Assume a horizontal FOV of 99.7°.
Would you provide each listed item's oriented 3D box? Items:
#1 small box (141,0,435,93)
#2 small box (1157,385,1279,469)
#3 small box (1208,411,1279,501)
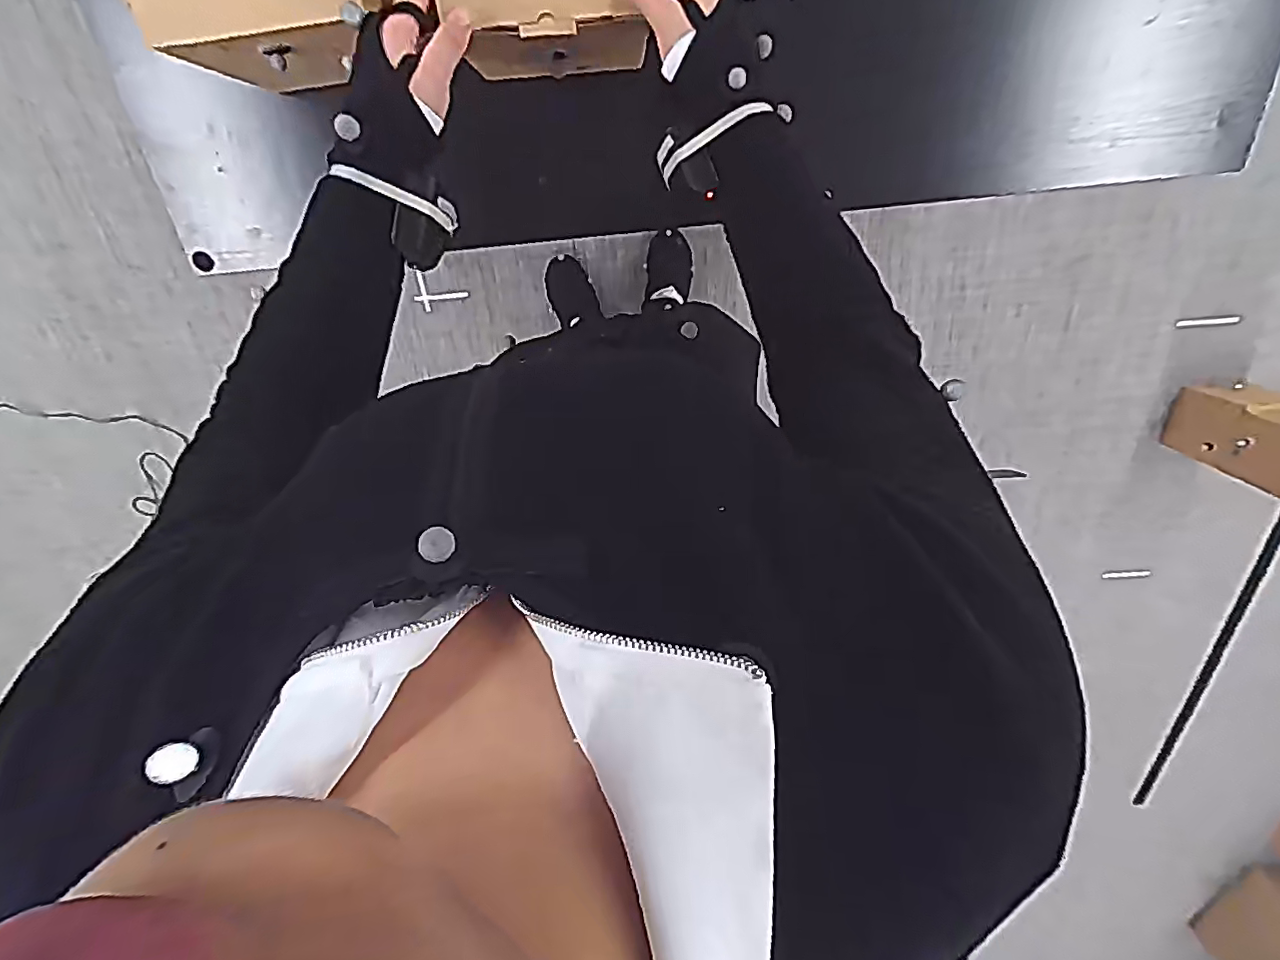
[{"bbox_3d":[-0.306,-0.456,0.465,0.179,0.176,0.168,-7,116,2],"label":"small box"},{"bbox_3d":[1.546,-0.143,1.437,0.168,0.176,0.179,-3,116,1],"label":"small box"},{"bbox_3d":[1.551,-0.065,1.295,0.179,0.176,0.168,-3,115,3],"label":"small box"}]
